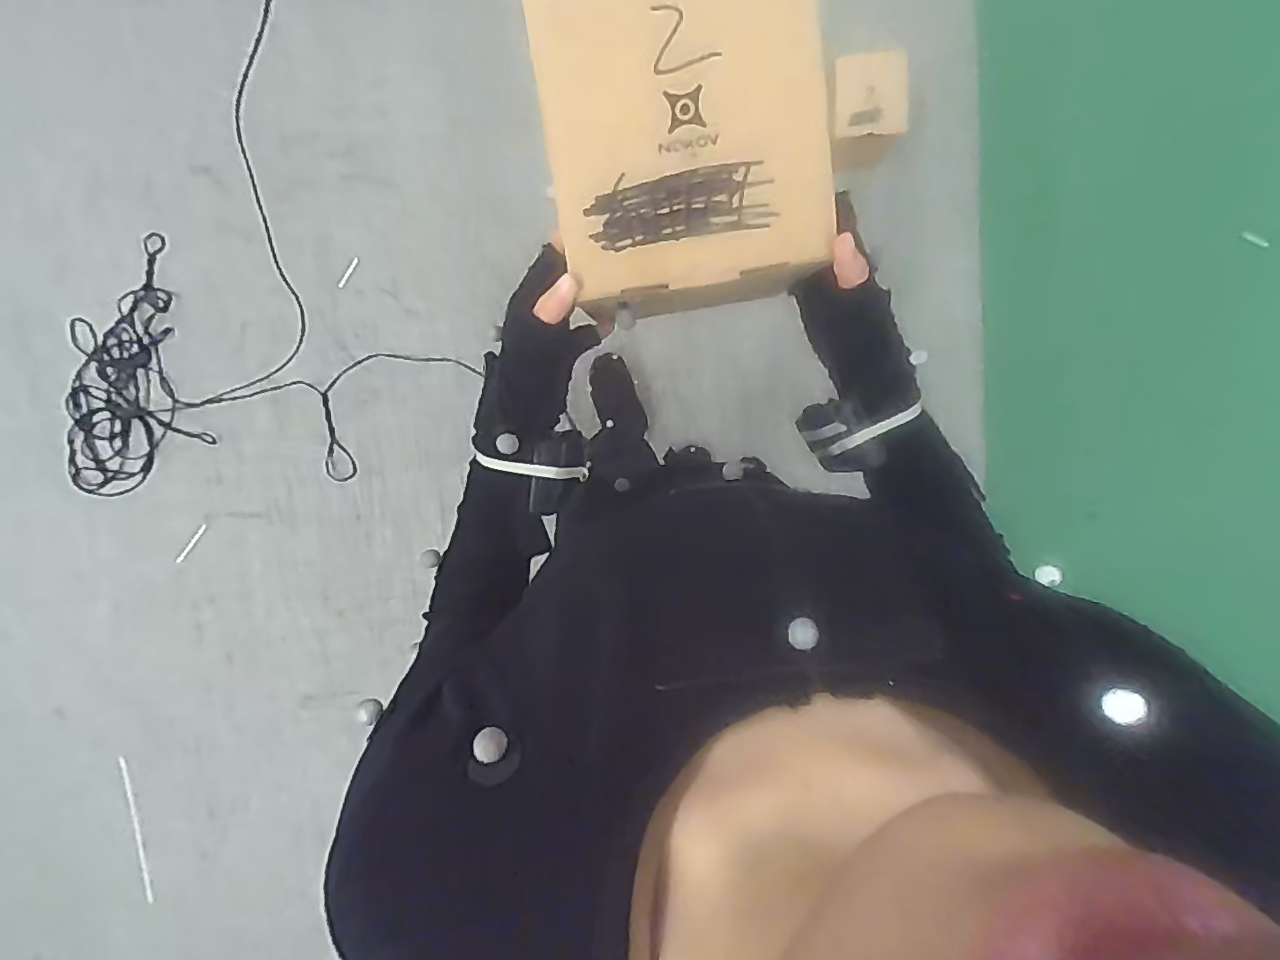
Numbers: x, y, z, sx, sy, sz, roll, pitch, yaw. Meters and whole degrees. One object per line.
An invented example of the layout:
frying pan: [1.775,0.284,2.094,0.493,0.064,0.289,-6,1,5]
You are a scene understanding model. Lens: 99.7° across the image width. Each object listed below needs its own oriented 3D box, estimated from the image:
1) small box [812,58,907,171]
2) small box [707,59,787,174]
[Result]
small box: [0.522,-0.869,1.304,0.168,0.176,0.179,-2,95,1]
small box: [0.253,-0.871,1.308,0.168,0.176,0.179,-2,96,1]
